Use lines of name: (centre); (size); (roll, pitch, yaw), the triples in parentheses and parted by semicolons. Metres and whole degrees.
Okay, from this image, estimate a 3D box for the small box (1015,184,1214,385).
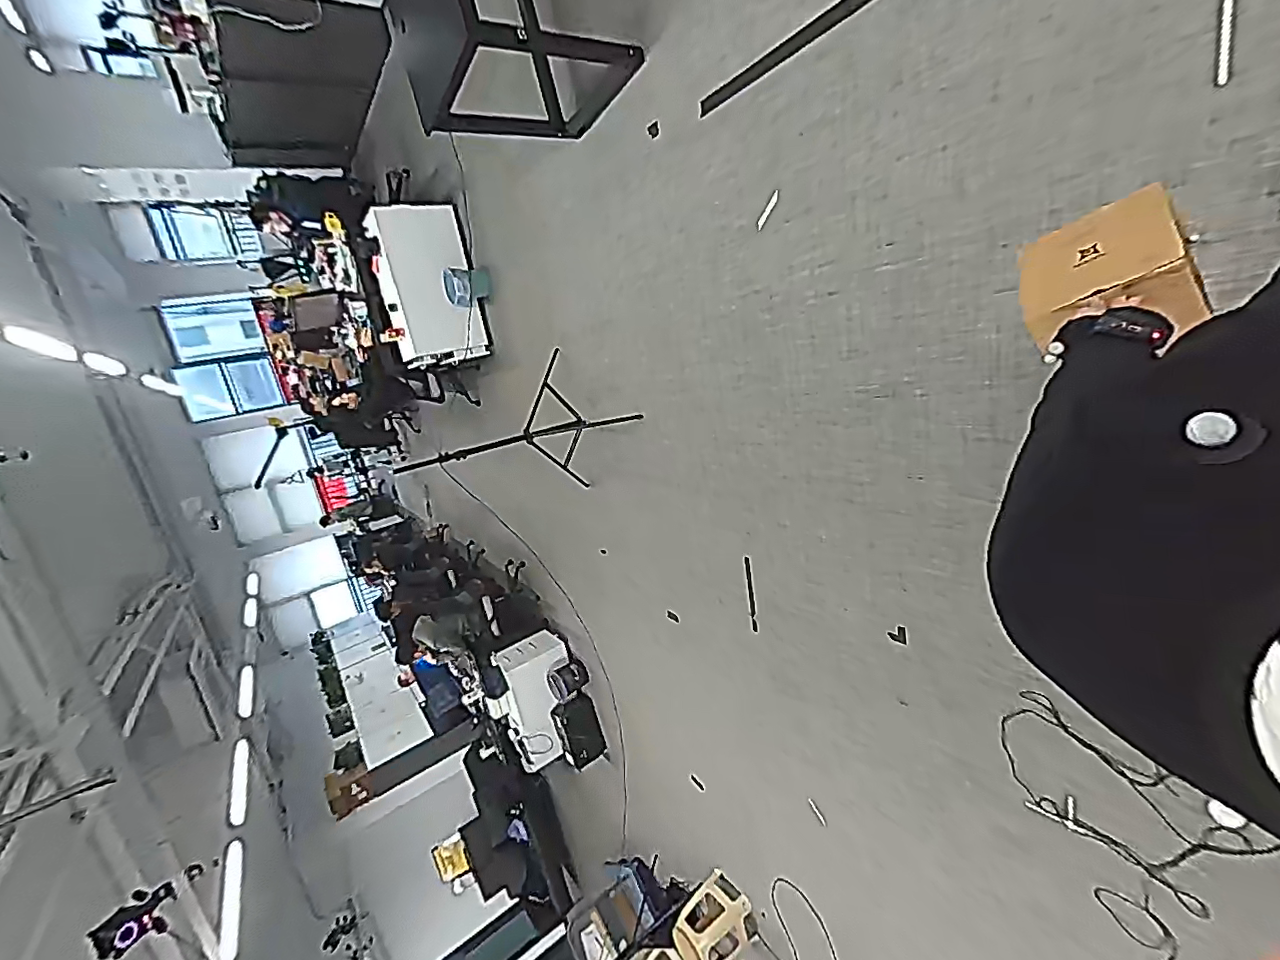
small box: (0.655, -0.257, 0.757); (0.176, 0.179, 0.168); (38, 146, -25)
